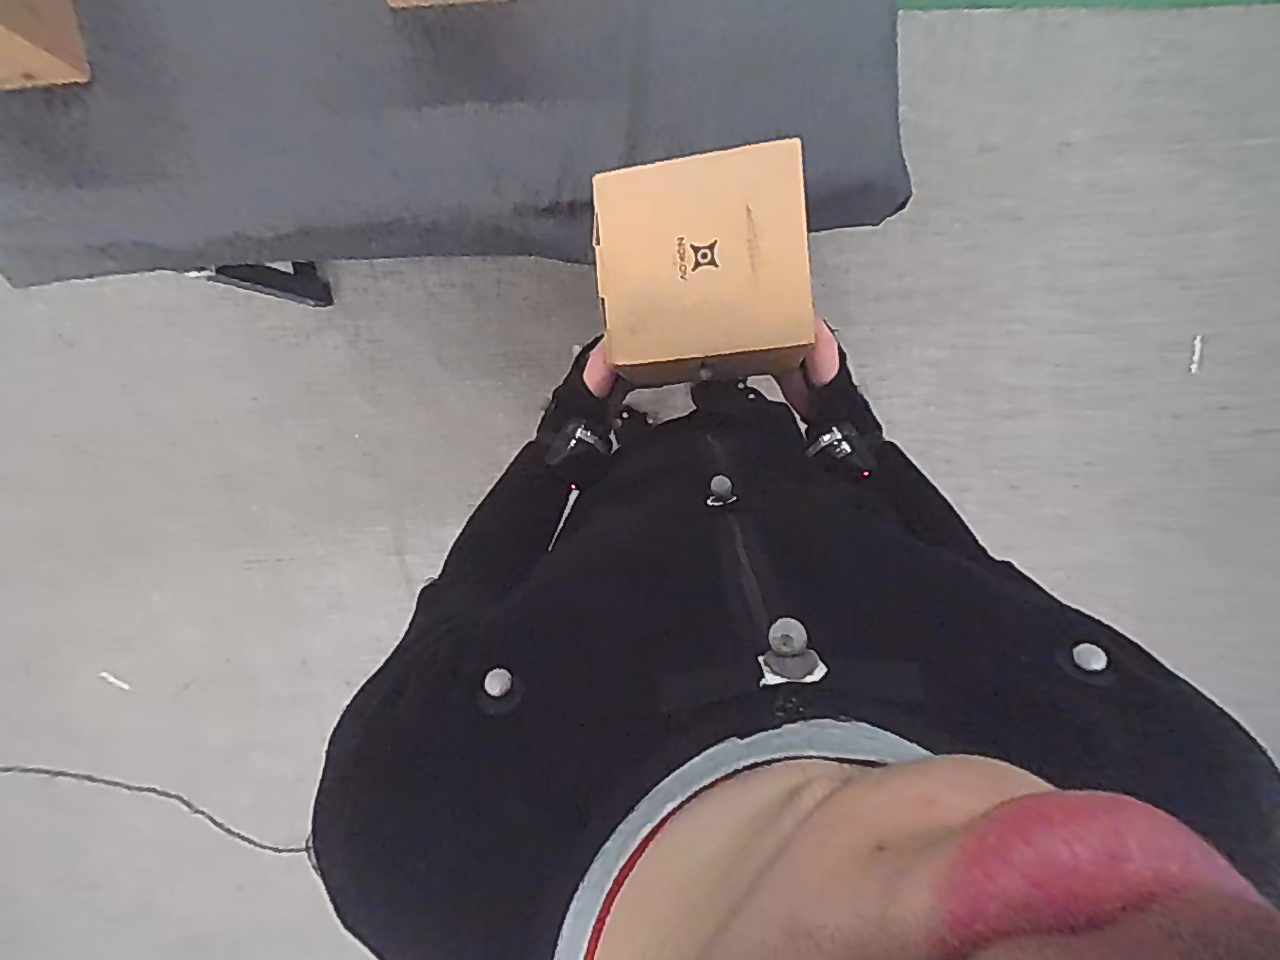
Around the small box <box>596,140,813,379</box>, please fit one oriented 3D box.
[{"bbox_3d":[0.065,-0.198,0.541,0.179,0.176,0.168,-5,94,8],"label":"small box"}]

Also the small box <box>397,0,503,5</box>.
[{"bbox_3d":[-0.243,-0.683,0.599,0.168,0.176,0.179,-5,102,-2],"label":"small box"}]

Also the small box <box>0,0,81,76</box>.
[{"bbox_3d":[-0.784,-0.573,0.589,0.168,0.176,0.179,-7,101,-2],"label":"small box"}]
